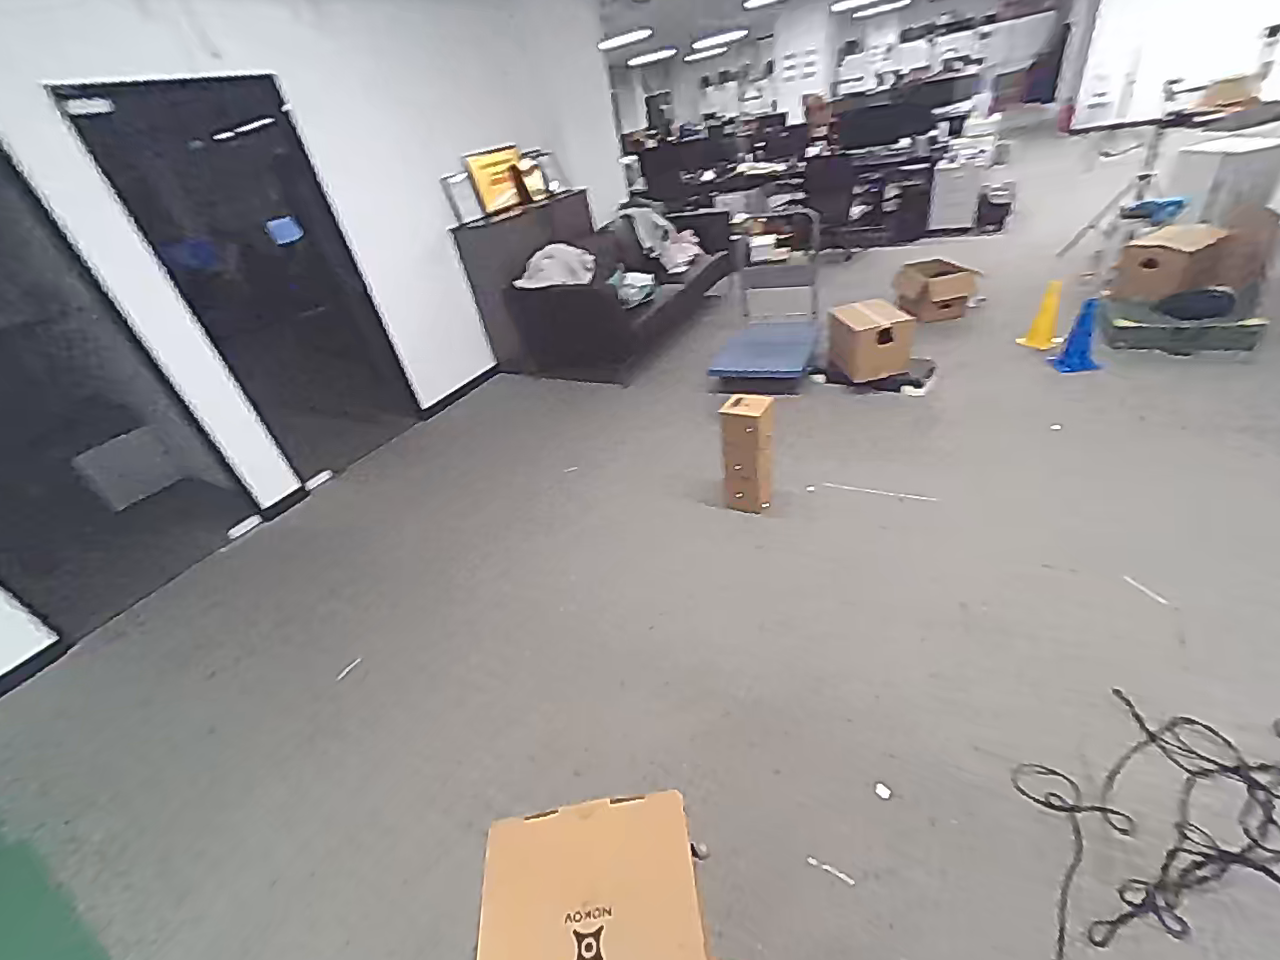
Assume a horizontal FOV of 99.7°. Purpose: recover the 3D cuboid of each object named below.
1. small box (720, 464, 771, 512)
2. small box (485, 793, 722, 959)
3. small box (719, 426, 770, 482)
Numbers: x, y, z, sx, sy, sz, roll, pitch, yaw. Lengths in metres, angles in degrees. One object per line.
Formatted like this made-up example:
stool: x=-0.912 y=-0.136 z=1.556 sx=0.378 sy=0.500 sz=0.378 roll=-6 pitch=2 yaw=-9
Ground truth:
small box: x=0.482 y=0.023 z=2.438 sx=0.179 sy=0.176 sz=0.168 roll=10 pitch=39 yaw=31
small box: x=-0.019 y=0.387 z=0.437 sx=0.168 sy=0.176 sz=0.179 roll=-10 pitch=41 yaw=0
small box: x=0.460 y=-0.111 z=2.346 sx=0.168 sy=0.176 sz=0.179 roll=12 pitch=40 yaw=30
